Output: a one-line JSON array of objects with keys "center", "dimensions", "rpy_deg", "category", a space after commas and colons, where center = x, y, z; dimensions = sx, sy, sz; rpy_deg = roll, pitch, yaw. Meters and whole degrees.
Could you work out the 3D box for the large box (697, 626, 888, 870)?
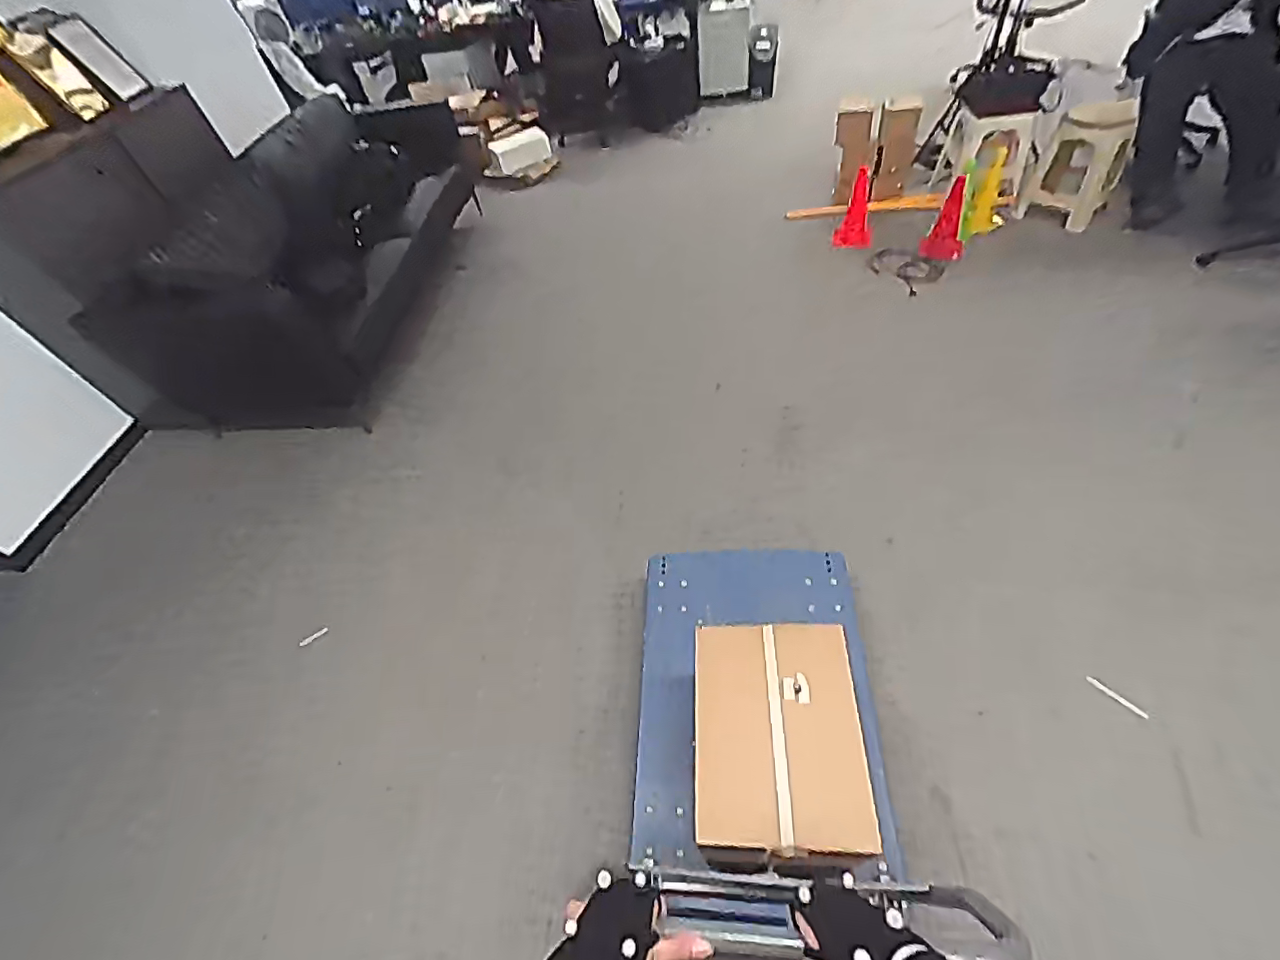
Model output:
[{"center": [0.291, 0.564, 1.142], "dimensions": [0.320, 0.320, 0.408], "rpy_deg": [-2, 50, 9], "category": "large box"}]
